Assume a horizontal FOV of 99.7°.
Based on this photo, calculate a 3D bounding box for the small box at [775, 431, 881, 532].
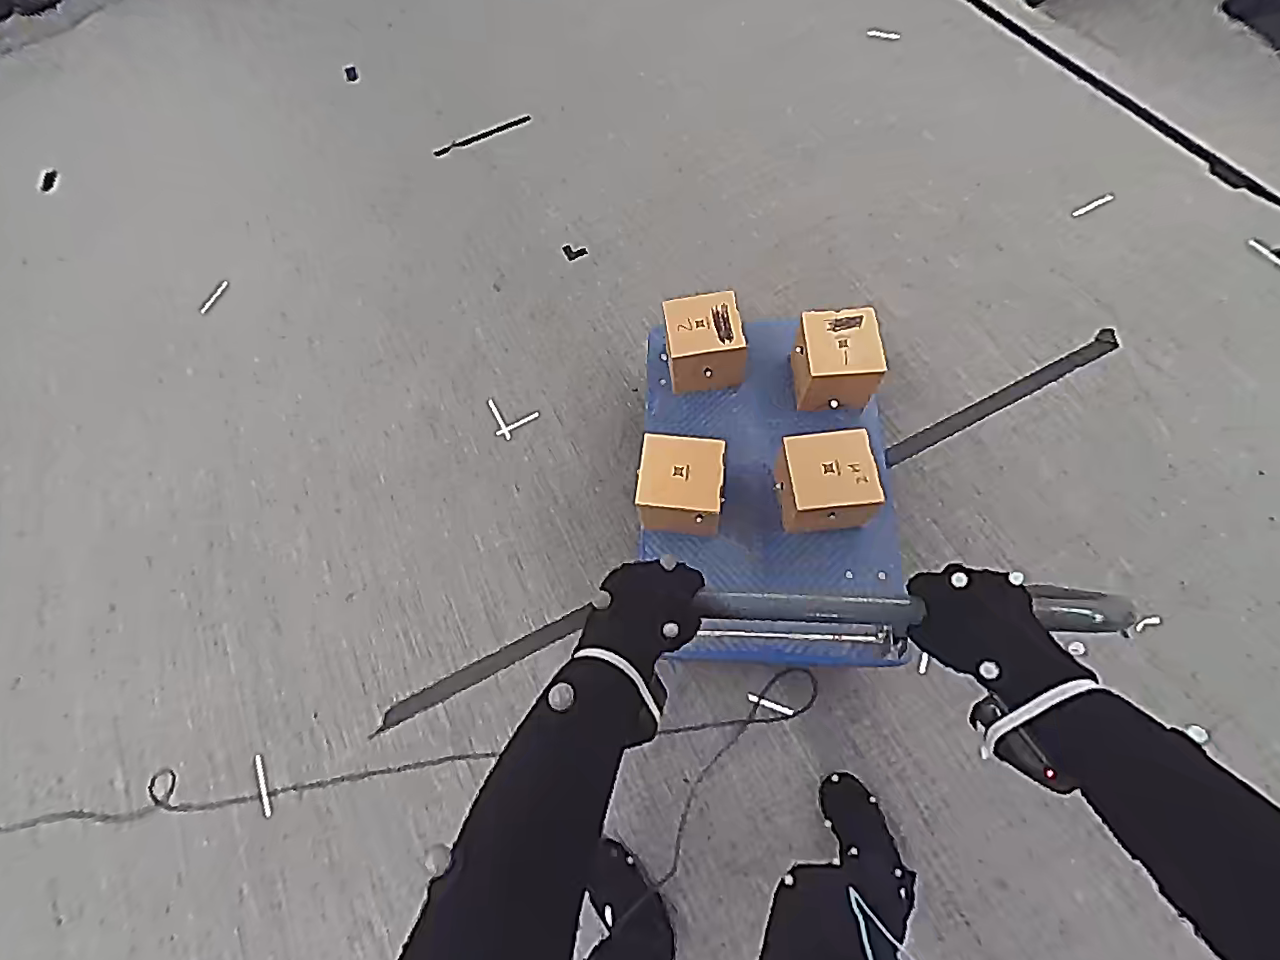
[{"bbox_3d":[0.394,0.009,1.173,0.179,0.176,0.168,-5,68,4],"label":"small box"}]

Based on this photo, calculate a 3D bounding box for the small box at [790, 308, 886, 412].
[{"bbox_3d":[0.459,-0.280,1.283,0.168,0.176,0.179,-3,69,5],"label":"small box"}]

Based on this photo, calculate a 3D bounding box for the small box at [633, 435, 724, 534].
[{"bbox_3d":[0.087,0.015,1.201,0.179,0.176,0.168,6,68,6],"label":"small box"}]
